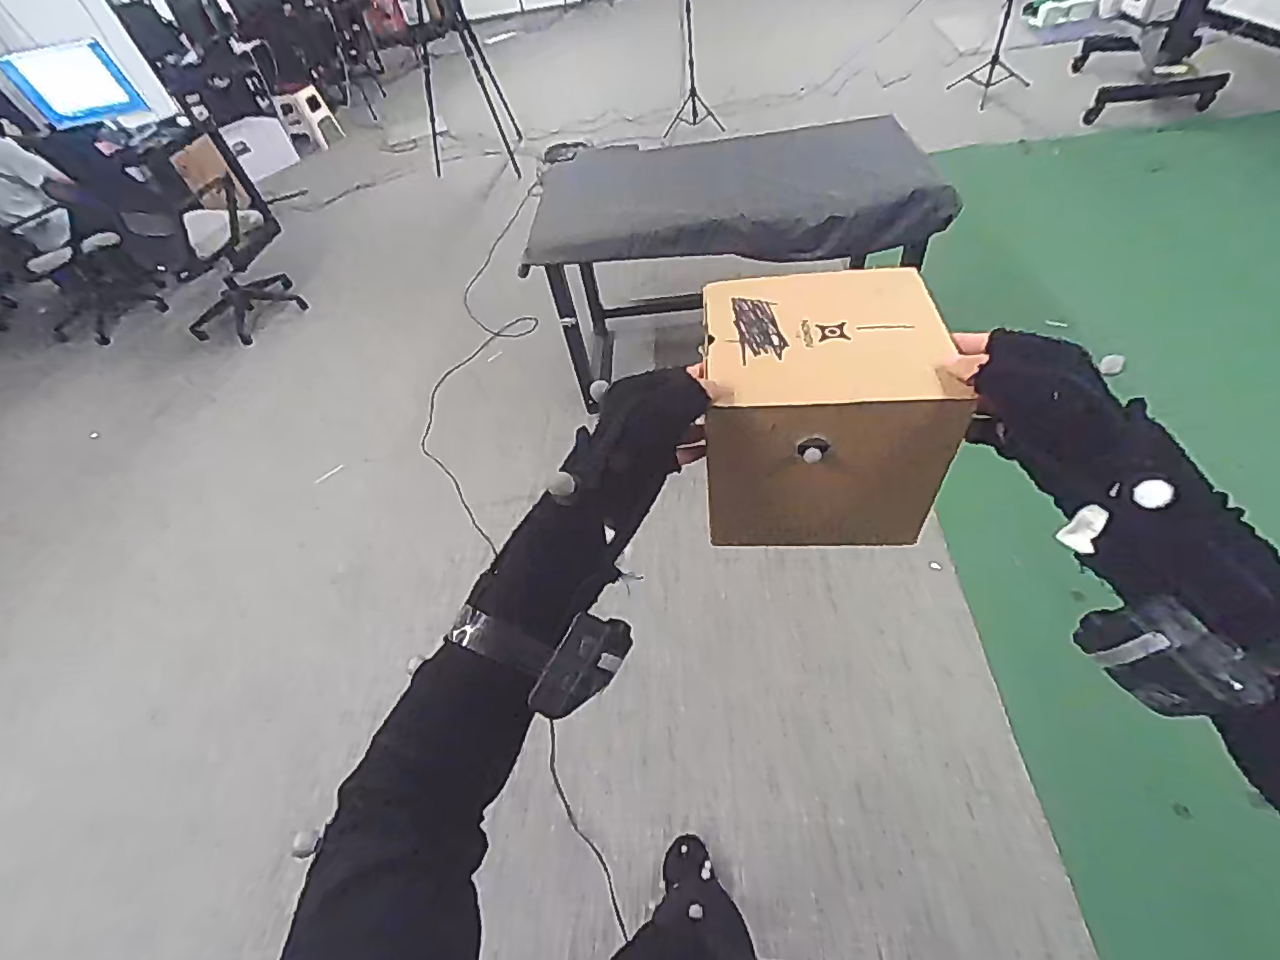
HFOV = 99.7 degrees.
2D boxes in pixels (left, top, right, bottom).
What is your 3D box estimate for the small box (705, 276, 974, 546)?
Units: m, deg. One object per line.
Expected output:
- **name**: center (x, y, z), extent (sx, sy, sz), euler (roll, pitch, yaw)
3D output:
- **small box**: center (0.149, -0.054, 0.472), extent (0.179, 0.176, 0.168), euler (-1, 49, 8)
